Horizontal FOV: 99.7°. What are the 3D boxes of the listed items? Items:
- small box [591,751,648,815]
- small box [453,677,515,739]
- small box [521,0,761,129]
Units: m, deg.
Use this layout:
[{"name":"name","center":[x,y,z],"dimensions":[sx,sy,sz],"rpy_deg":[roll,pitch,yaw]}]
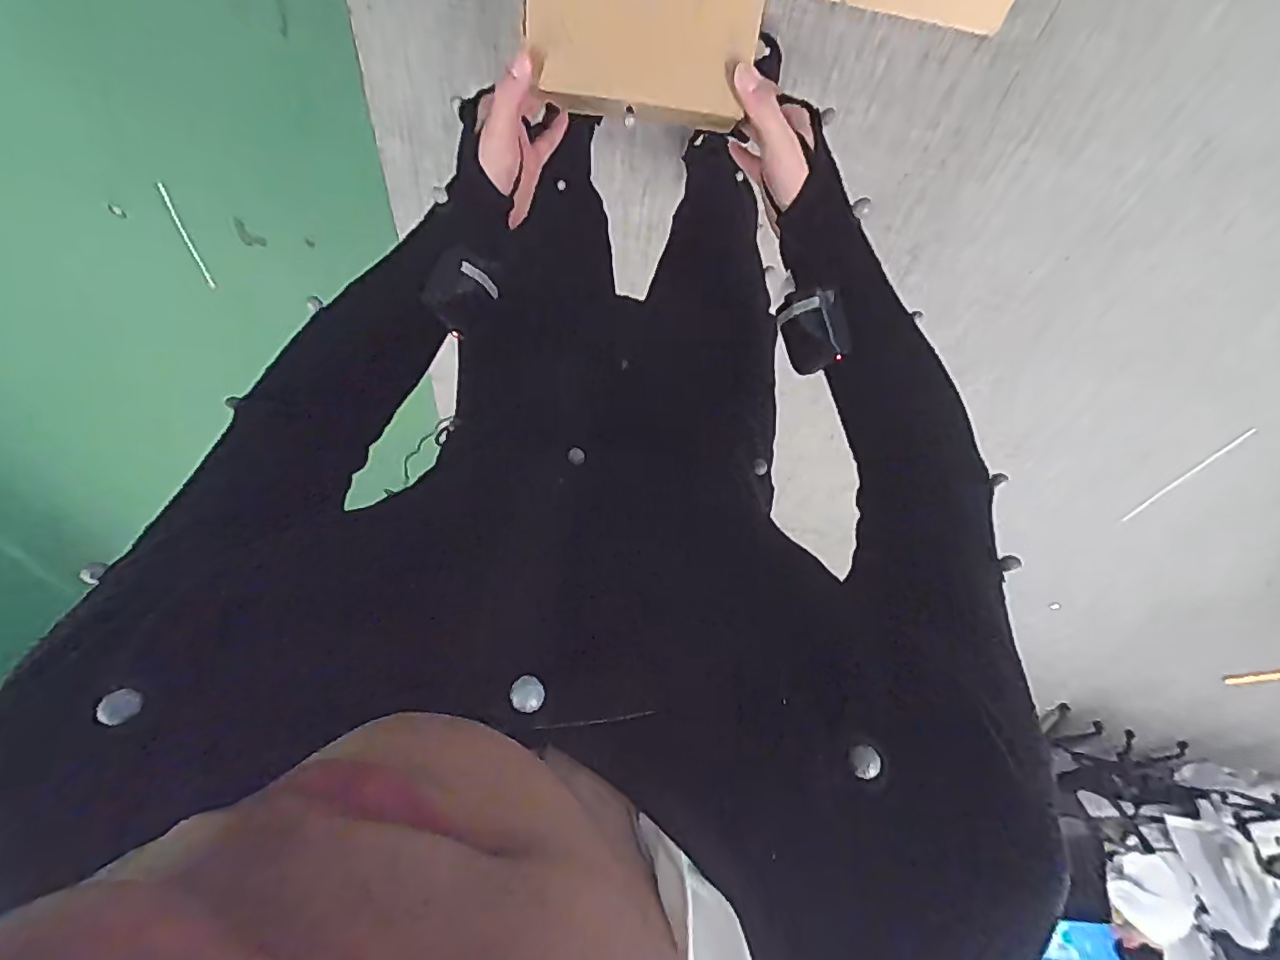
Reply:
[{"name":"small box","center":[-0.077,1.116,1.998],"dimensions":[0.179,0.176,0.168],"rpy_deg":[11,141,0]},{"name":"small box","center":[-0.594,0.872,2.078],"dimensions":[0.179,0.176,0.168],"rpy_deg":[10,142,1]},{"name":"small box","center":[0.010,-0.405,0.453],"dimensions":[0.179,0.176,0.168],"rpy_deg":[9,120,0]}]
